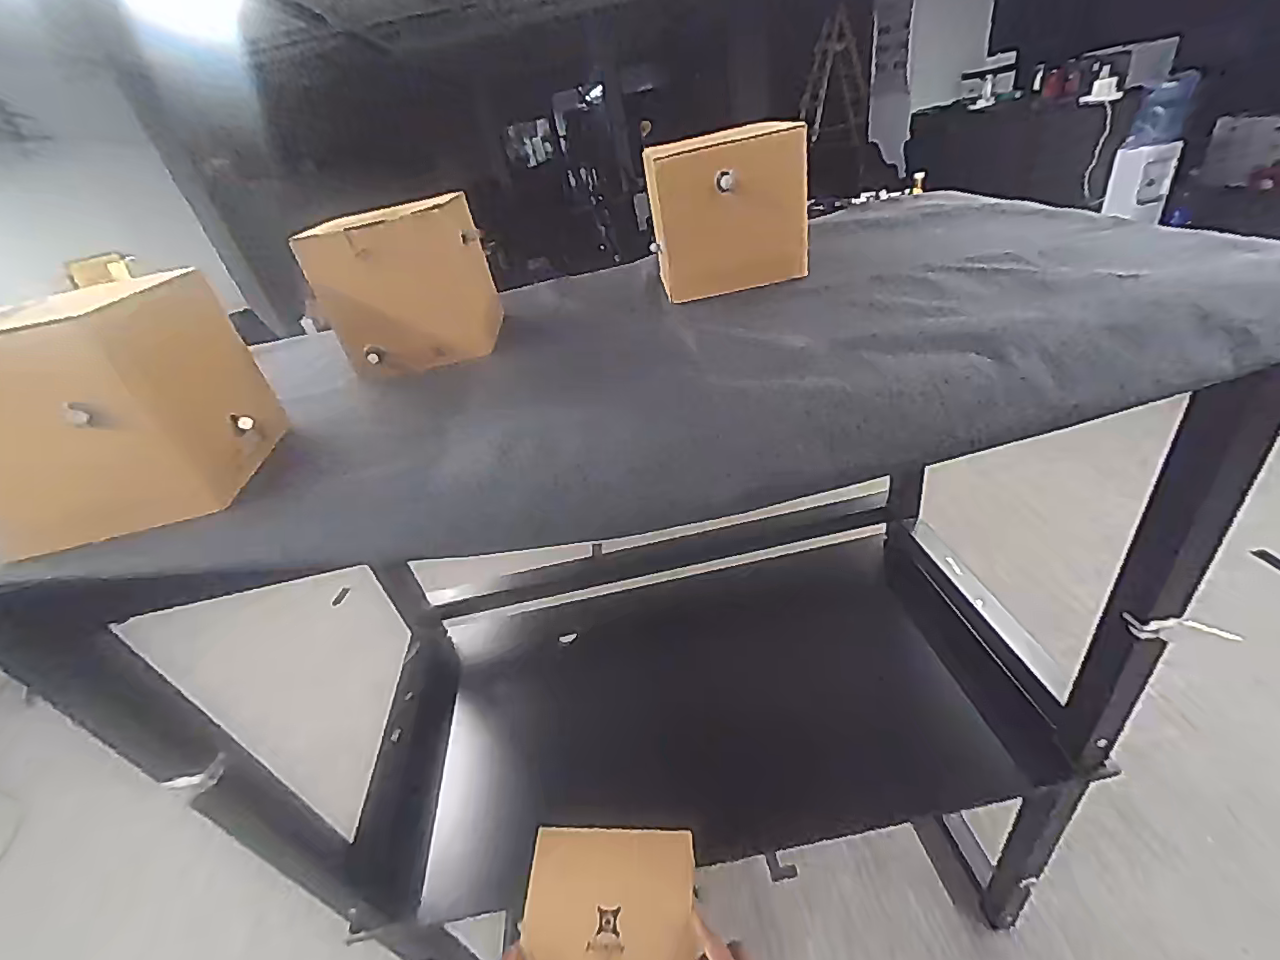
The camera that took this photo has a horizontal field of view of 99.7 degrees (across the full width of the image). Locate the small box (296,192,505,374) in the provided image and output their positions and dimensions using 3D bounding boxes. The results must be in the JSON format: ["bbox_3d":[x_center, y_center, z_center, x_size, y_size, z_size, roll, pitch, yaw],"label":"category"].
[{"bbox_3d":[-0.280,-0.246,0.684,0.168,0.176,0.179,-12,33,1],"label":"small box"}]

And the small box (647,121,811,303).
[{"bbox_3d":[0.112,-0.348,0.702,0.179,0.176,0.168,-11,33,4],"label":"small box"}]

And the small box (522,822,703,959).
[{"bbox_3d":[-0.020,0.485,0.560,0.168,0.176,0.179,-2,40,6],"label":"small box"}]
